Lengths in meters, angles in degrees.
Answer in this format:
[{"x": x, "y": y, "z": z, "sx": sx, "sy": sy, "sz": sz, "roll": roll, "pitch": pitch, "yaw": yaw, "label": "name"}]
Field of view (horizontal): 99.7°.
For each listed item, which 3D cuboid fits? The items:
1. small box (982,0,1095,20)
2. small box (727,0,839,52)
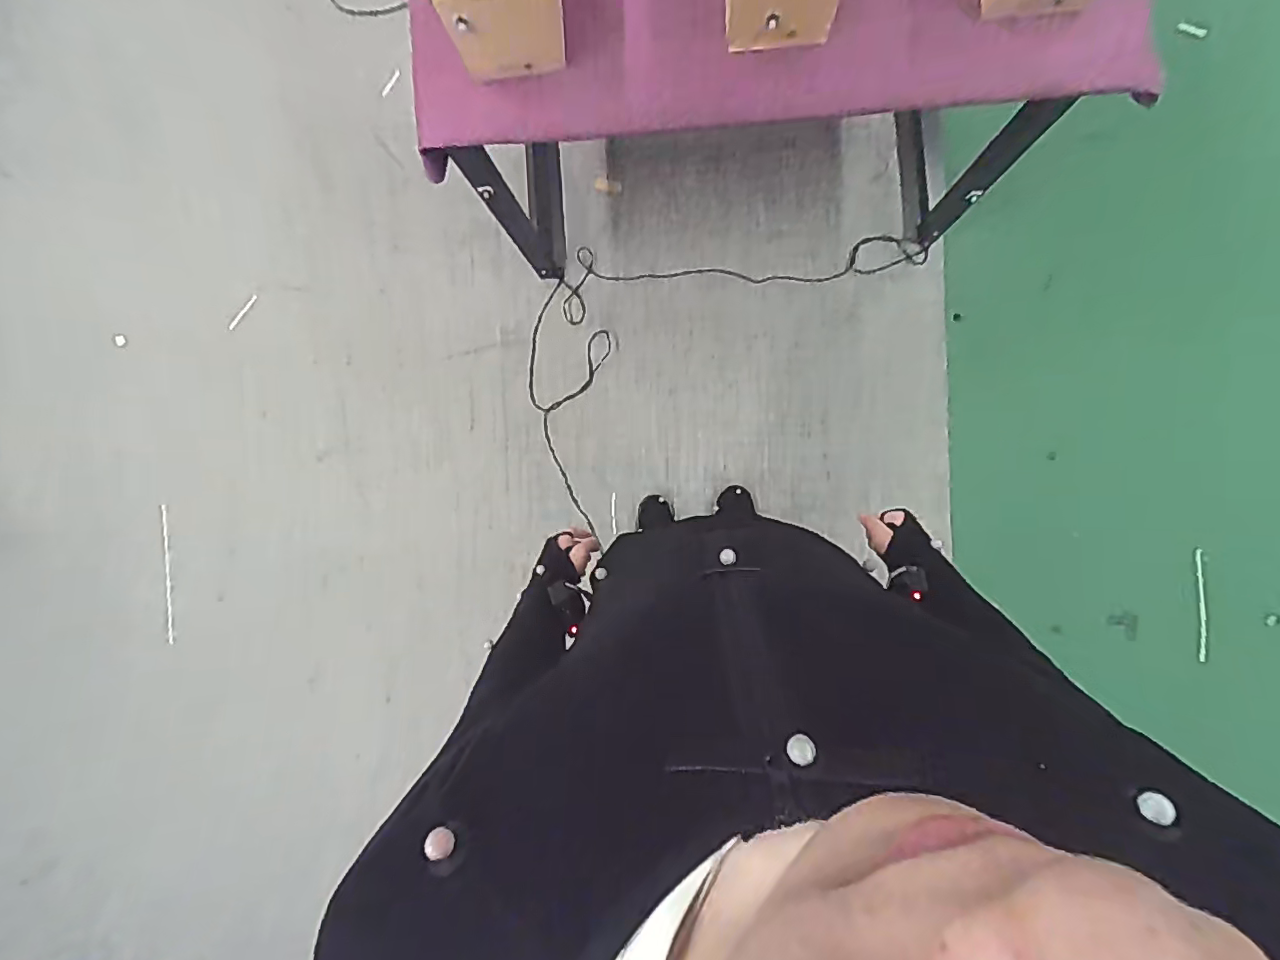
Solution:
[{"x": 0.624, "y": -0.829, "z": 0.787, "sx": 0.168, "sy": 0.176, "sz": 0.179, "roll": 0, "pitch": 89, "yaw": 7, "label": "small box"}, {"x": 0.222, "y": -0.812, "z": 0.829, "sx": 0.168, "sy": 0.176, "sz": 0.179, "roll": -1, "pitch": 89, "yaw": 5, "label": "small box"}]
